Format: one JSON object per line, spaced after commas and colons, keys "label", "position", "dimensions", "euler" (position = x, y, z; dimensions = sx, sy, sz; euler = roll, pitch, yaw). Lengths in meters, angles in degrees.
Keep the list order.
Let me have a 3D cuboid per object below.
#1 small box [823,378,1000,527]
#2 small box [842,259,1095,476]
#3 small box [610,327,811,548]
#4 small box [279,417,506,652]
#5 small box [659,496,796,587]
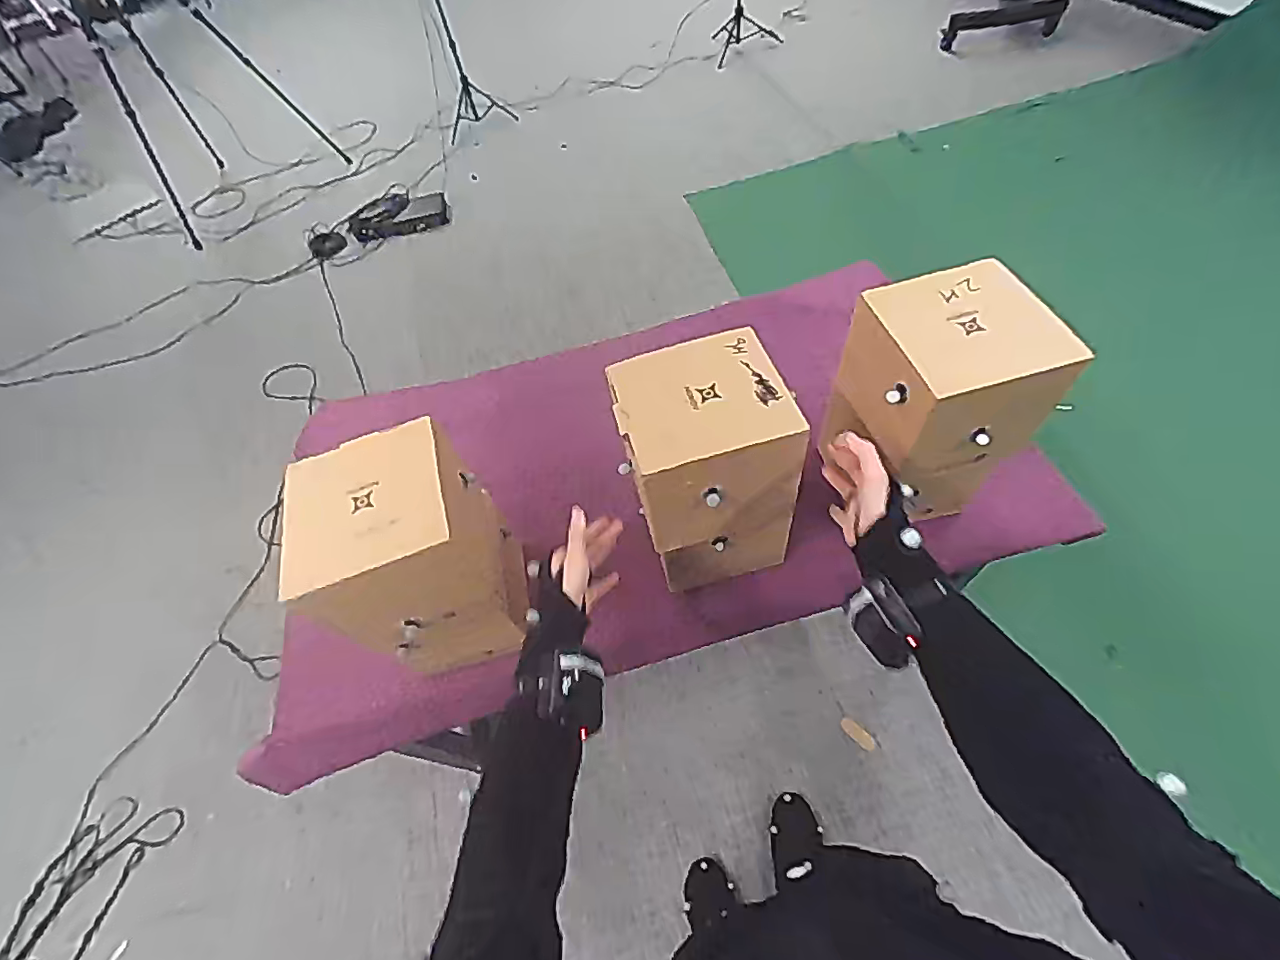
{"label": "small box", "position": [0.383, -0.046, 0.787], "dimensions": [0.168, 0.176, 0.179], "euler": [-12, 56, 1]}
{"label": "small box", "position": [0.363, -0.122, 0.641], "dimensions": [0.168, 0.176, 0.179], "euler": [-14, 56, -1]}
{"label": "small box", "position": [0.078, -0.042, 0.631], "dimensions": [0.179, 0.176, 0.168], "euler": [-16, 55, -2]}
{"label": "small box", "position": [-0.267, 0.065, 0.610], "dimensions": [0.168, 0.176, 0.179], "euler": [-20, 55, -5]}
{"label": "small box", "position": [0.104, 0.035, 0.774], "dimensions": [0.179, 0.176, 0.168], "euler": [-14, 55, -2]}
